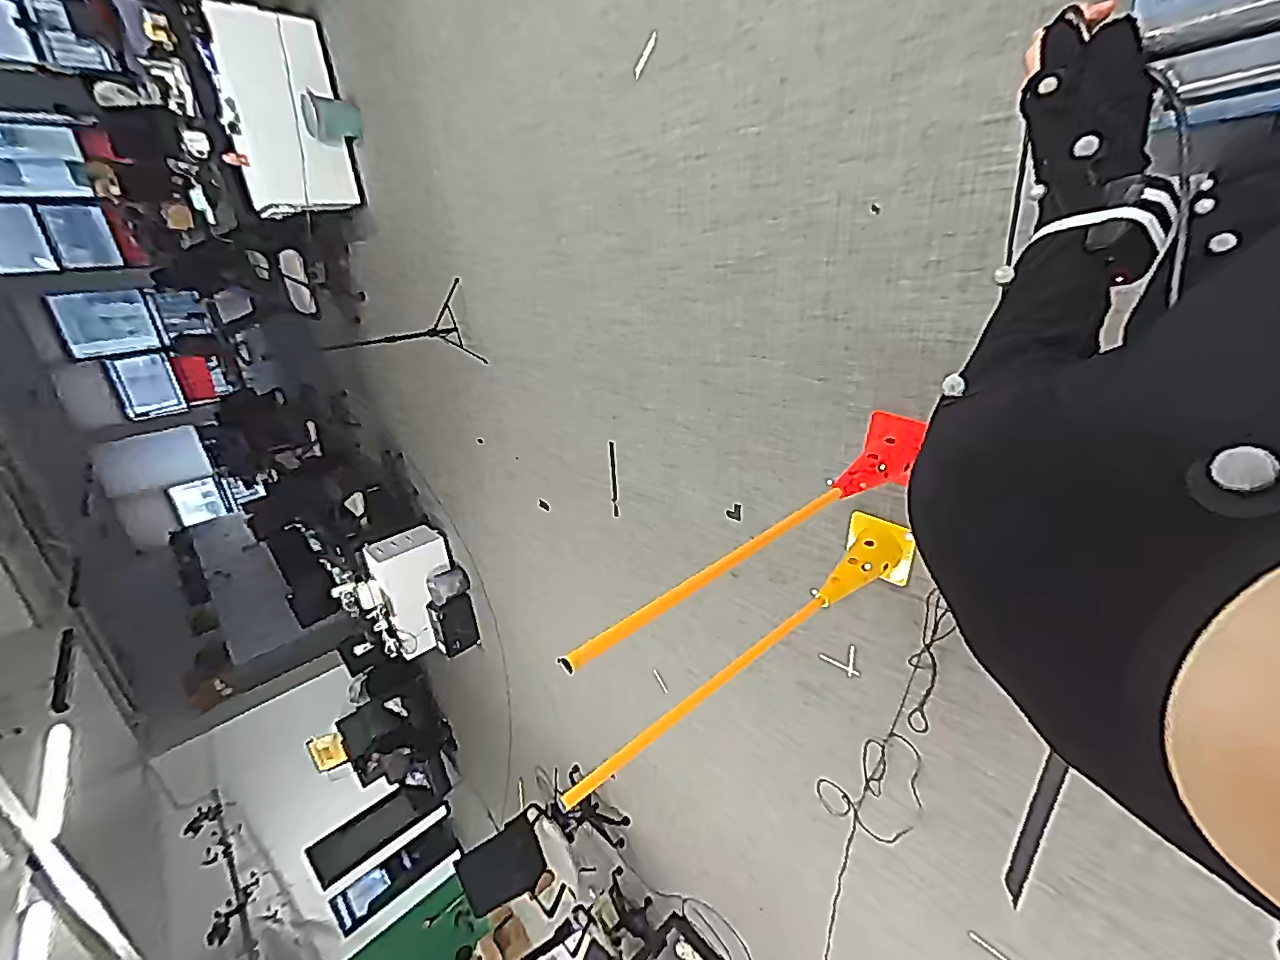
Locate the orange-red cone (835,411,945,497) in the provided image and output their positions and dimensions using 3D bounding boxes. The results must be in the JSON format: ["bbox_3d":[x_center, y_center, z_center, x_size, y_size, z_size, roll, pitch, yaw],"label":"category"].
[{"bbox_3d":[0.614,-0.031,1.419,0.198,0.360,0.199,28,127,39],"label":"orange-red cone"}]
